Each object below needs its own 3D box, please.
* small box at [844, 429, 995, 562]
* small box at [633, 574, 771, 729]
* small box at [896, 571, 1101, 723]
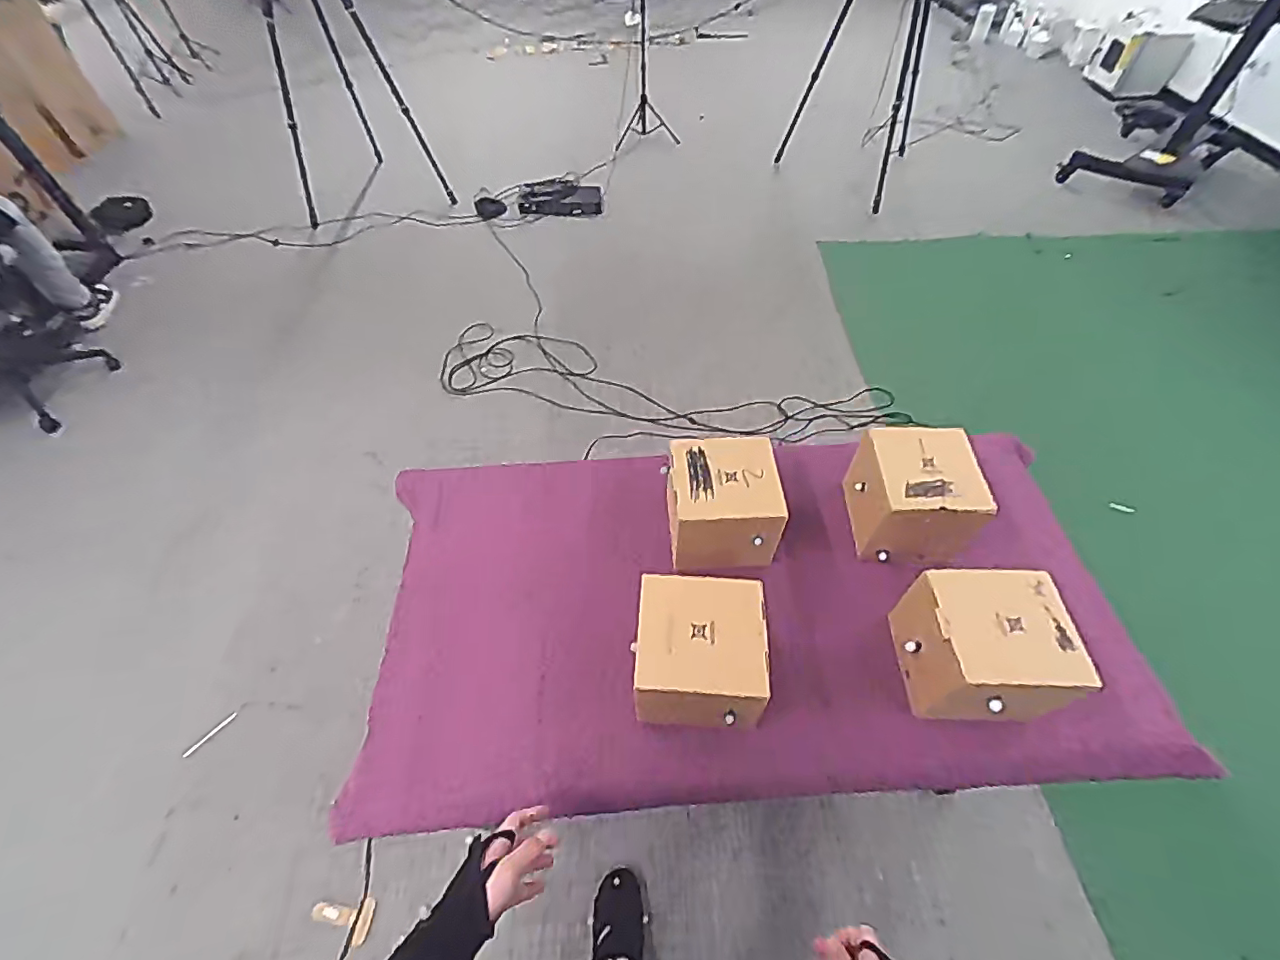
[{"bbox_3d":[0.476,0.031,0.952,0.168,0.176,0.179,2,53,2],"label":"small box"},{"bbox_3d":[0.086,0.255,0.792,0.179,0.176,0.168,3,52,4],"label":"small box"},{"bbox_3d":[0.496,0.246,0.788,0.179,0.176,0.168,1,52,3],"label":"small box"}]
